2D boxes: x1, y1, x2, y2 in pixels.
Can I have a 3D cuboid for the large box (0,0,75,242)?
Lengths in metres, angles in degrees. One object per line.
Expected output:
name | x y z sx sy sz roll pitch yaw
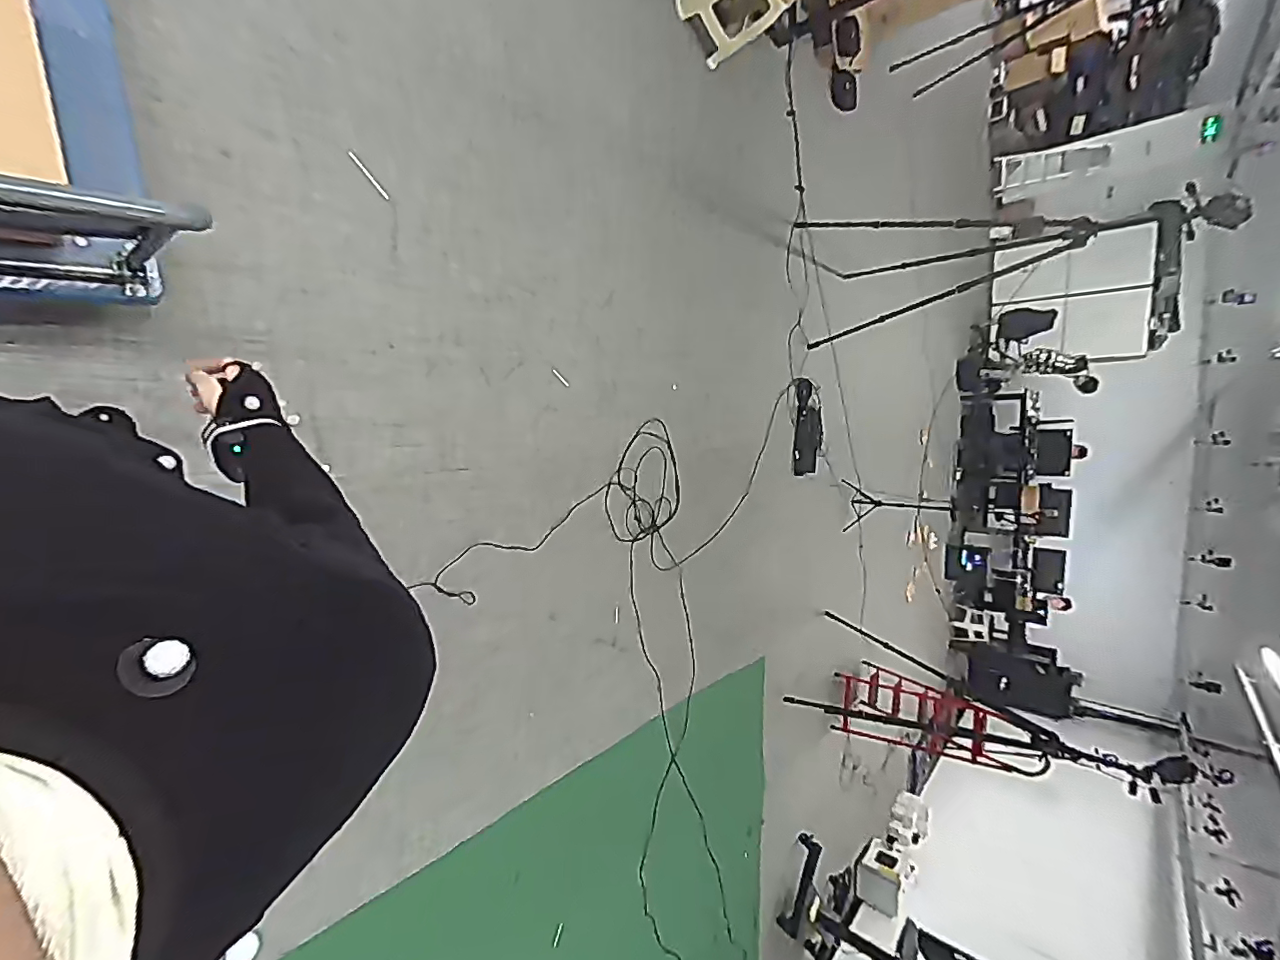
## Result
large box | -1.079 -0.601 0.774 0.320 0.320 0.408 -14 103 -46
